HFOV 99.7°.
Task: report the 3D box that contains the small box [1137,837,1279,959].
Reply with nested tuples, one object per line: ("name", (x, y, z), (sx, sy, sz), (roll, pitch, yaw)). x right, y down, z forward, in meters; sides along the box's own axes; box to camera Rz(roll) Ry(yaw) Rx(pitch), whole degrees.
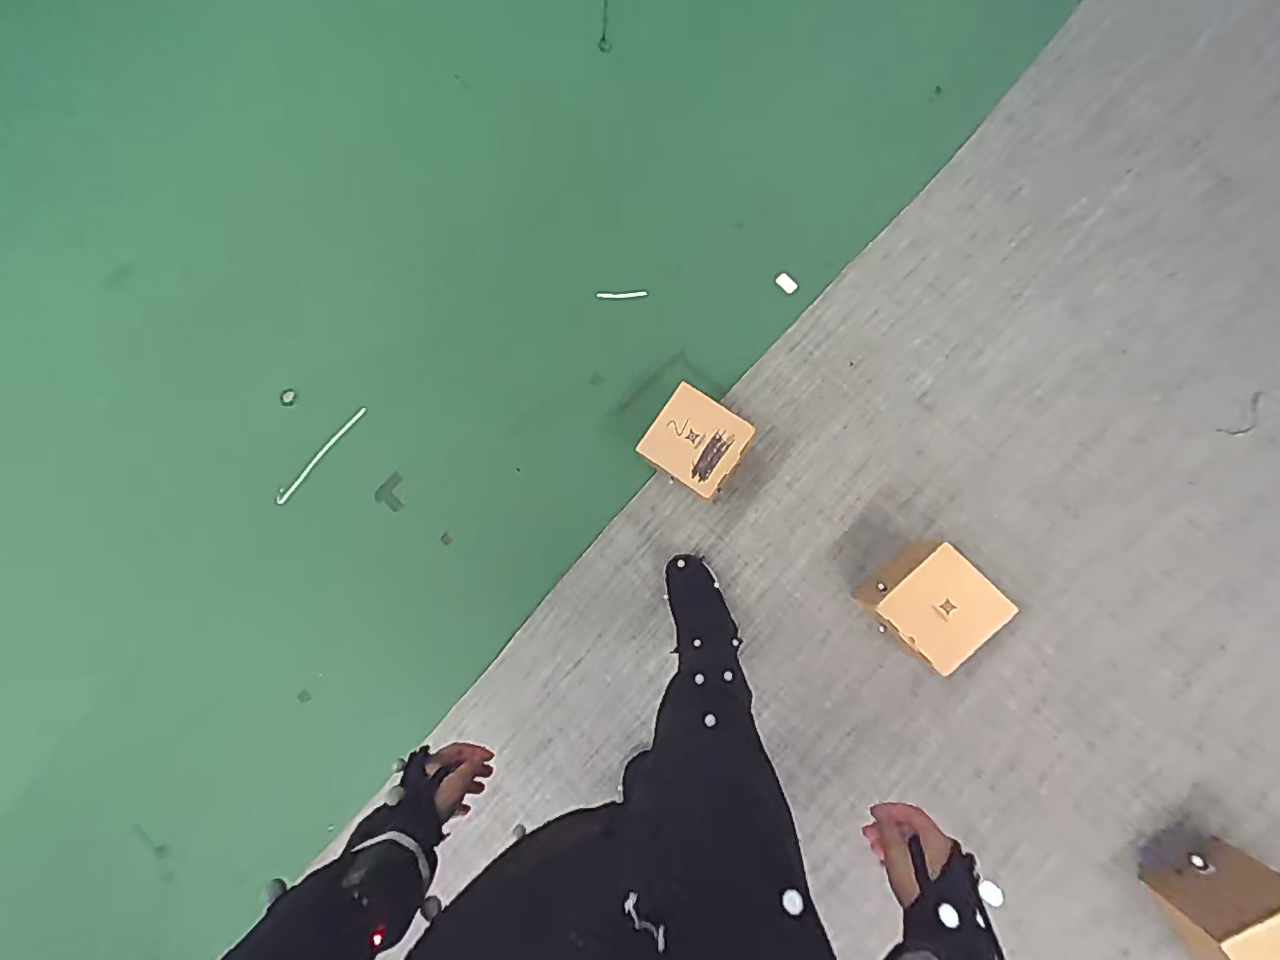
("small box", (1.017, 0.756, 0.907), (0.168, 0.176, 0.179), (-32, 80, 3))

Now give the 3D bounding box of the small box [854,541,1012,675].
("small box", (0.539, 0.230, 1.027), (0.179, 0.176, 0.168), (-45, 80, 2))
